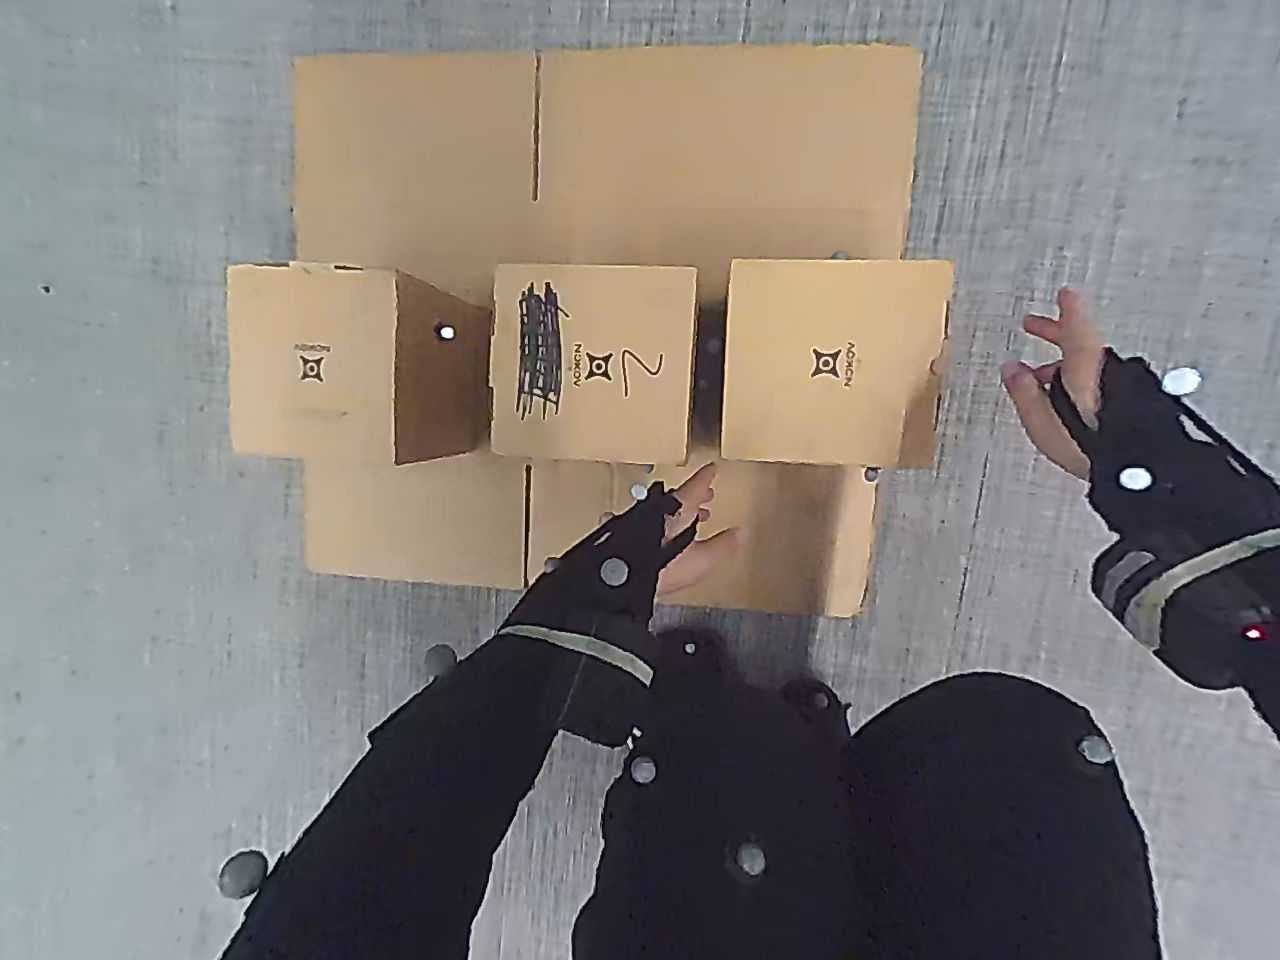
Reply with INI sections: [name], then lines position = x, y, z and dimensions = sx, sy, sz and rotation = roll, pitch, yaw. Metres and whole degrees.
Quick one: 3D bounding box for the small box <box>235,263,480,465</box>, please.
[small box]
position = -0.280, -0.115, 0.570
dimensions = 0.168, 0.176, 0.179
rotation = 4, 98, 7
